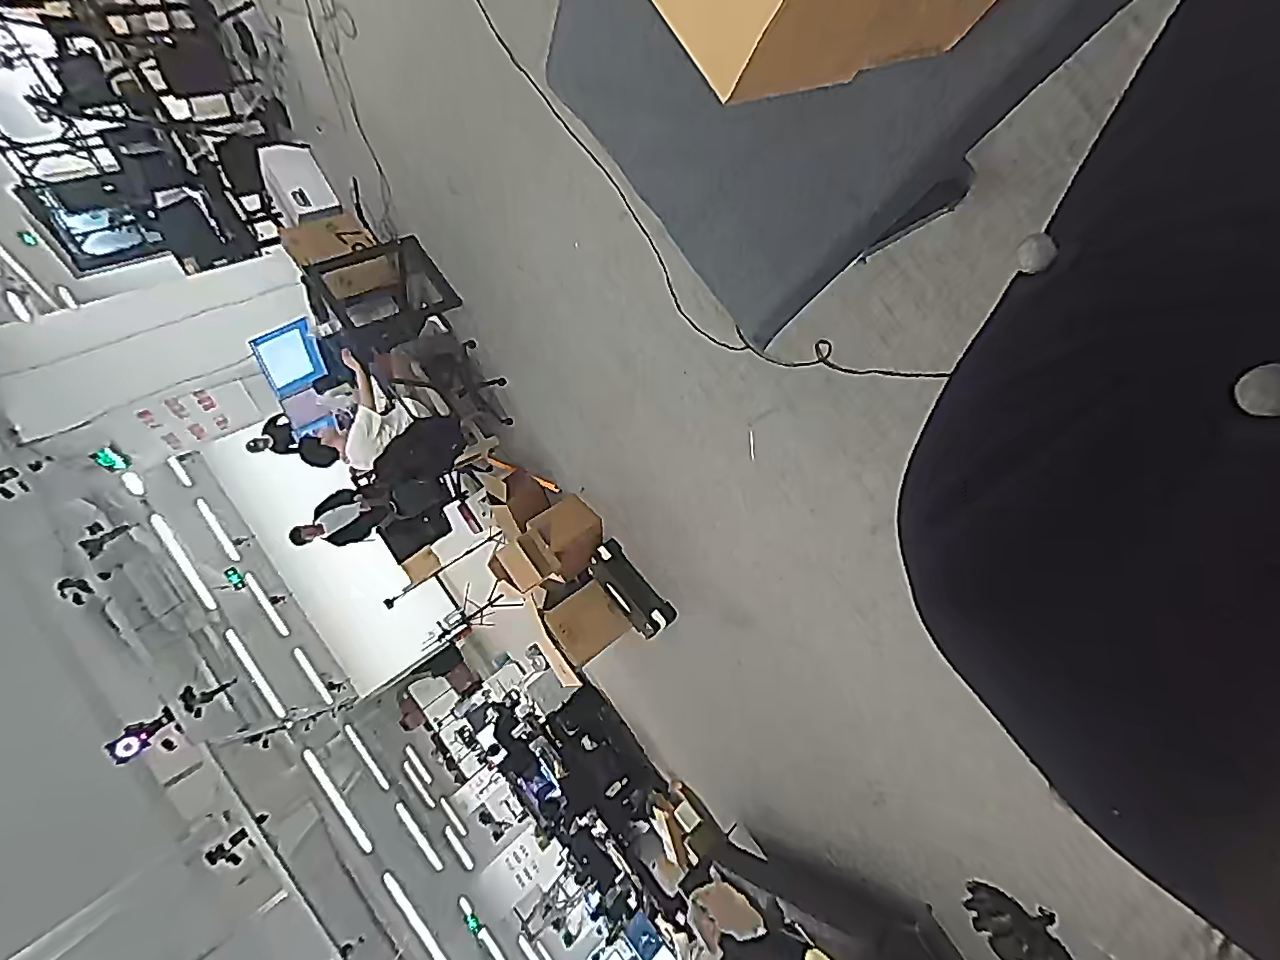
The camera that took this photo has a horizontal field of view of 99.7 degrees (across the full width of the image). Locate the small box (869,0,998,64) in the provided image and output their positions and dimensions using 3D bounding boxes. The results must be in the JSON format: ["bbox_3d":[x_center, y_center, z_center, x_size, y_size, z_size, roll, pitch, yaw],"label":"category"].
[{"bbox_3d":[0.243,-0.485,0.440,0.168,0.176,0.179,57,151,0],"label":"small box"}]

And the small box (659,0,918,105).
[{"bbox_3d":[0.118,-0.407,0.369,0.168,0.176,0.179,58,152,3],"label":"small box"}]
